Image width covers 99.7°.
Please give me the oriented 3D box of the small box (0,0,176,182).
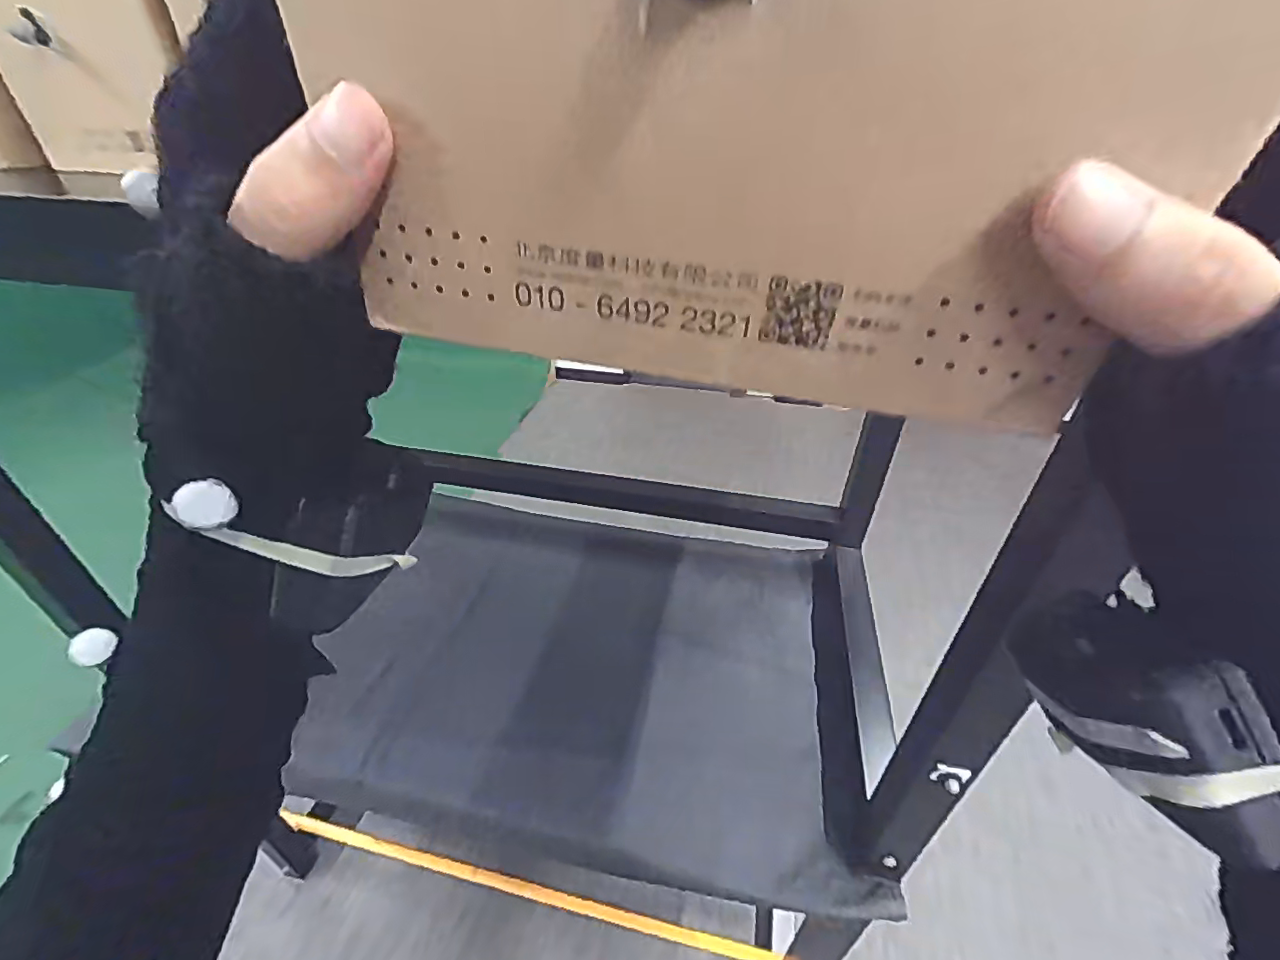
[{"bbox_3d":[-0.572,-0.377,0.482,0.168,0.176,0.179,9,38,11],"label":"small box"}]
